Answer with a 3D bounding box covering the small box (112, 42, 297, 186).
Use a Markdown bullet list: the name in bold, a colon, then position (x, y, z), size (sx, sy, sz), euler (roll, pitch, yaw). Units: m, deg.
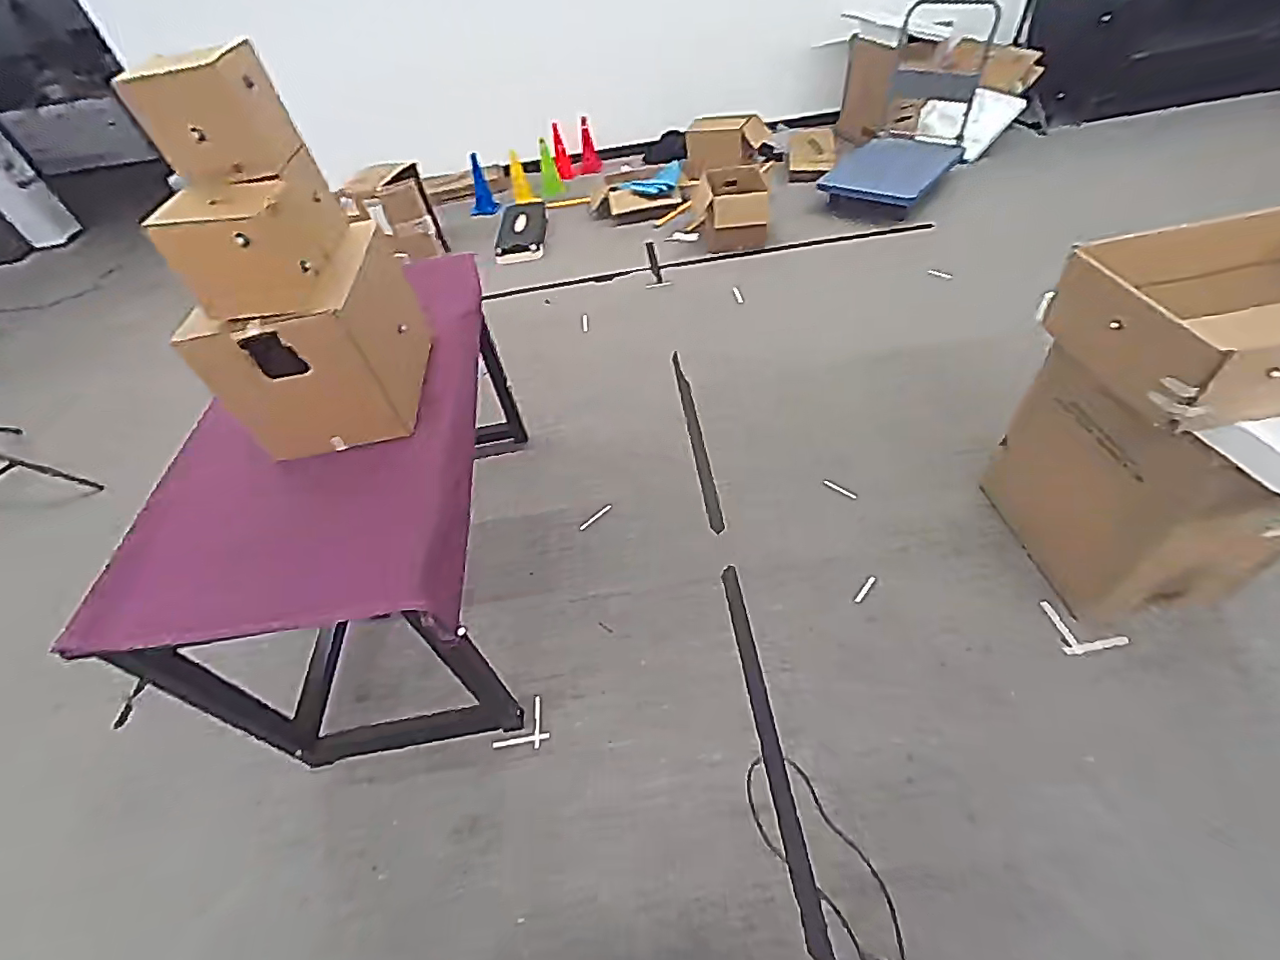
- **small box**: position (-0.753, -0.644, 0.964), size (0.168, 0.176, 0.179), euler (-10, 49, 0)
